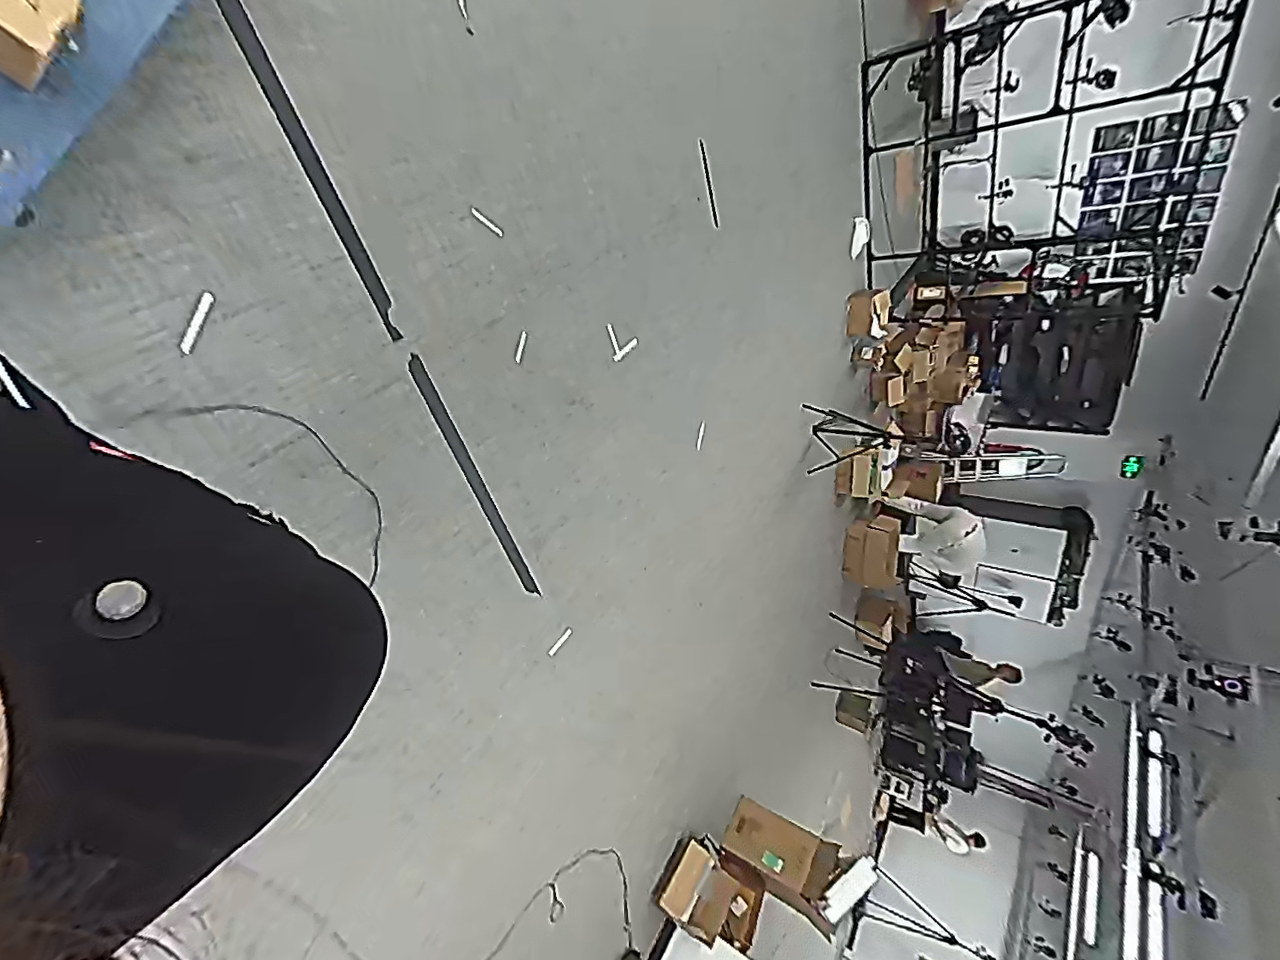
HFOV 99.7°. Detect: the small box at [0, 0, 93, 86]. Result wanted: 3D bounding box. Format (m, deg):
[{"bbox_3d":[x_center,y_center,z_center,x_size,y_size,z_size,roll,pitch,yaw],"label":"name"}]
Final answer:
[{"bbox_3d":[-0.893,-0.687,0.731,0.179,0.176,0.168,34,72,-52],"label":"small box"}]
